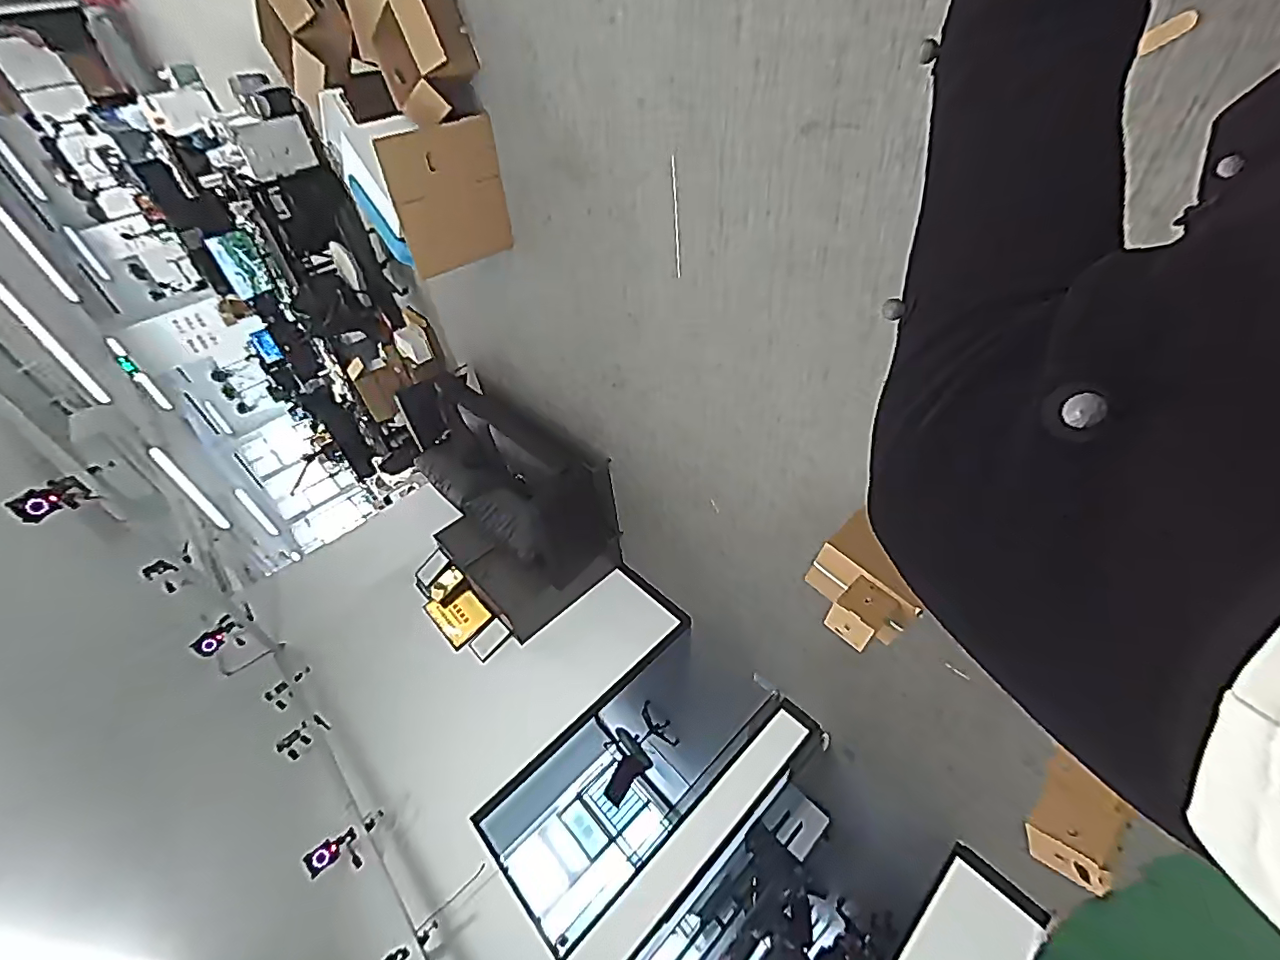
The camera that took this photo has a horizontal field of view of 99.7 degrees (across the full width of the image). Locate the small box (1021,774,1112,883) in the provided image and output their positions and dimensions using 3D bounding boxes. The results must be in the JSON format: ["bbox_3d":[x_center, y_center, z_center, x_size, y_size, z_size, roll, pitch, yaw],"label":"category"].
[{"bbox_3d":[1.256,1.011,1.586,0.179,0.176,0.168,12,132,53],"label":"small box"}]

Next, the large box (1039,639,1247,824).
[{"bbox_3d":[1.568,0.754,1.696,0.408,0.320,0.320,1,124,57],"label":"large box"}]

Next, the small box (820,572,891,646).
[{"bbox_3d":[0.813,0.480,2.032,0.168,0.176,0.179,38,148,29],"label":"small box"}]
